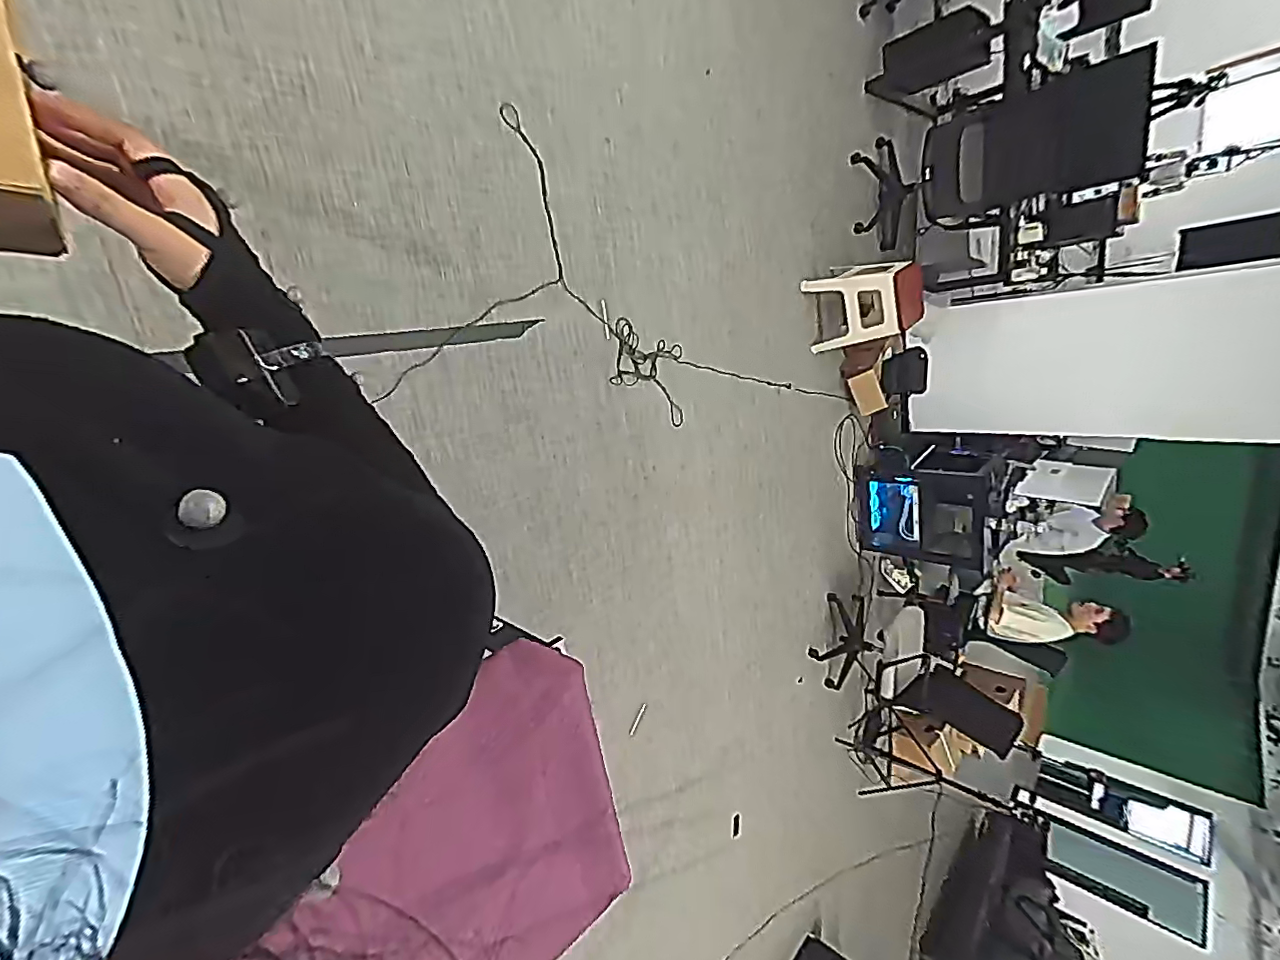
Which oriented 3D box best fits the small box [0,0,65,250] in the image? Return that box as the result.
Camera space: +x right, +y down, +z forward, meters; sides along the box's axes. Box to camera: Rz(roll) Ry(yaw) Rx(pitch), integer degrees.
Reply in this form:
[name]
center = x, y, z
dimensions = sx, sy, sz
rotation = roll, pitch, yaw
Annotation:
[small box]
center = -0.451, -0.243, 0.294
dimensions = 0.168, 0.176, 0.179
rotation = -13, 105, -43
